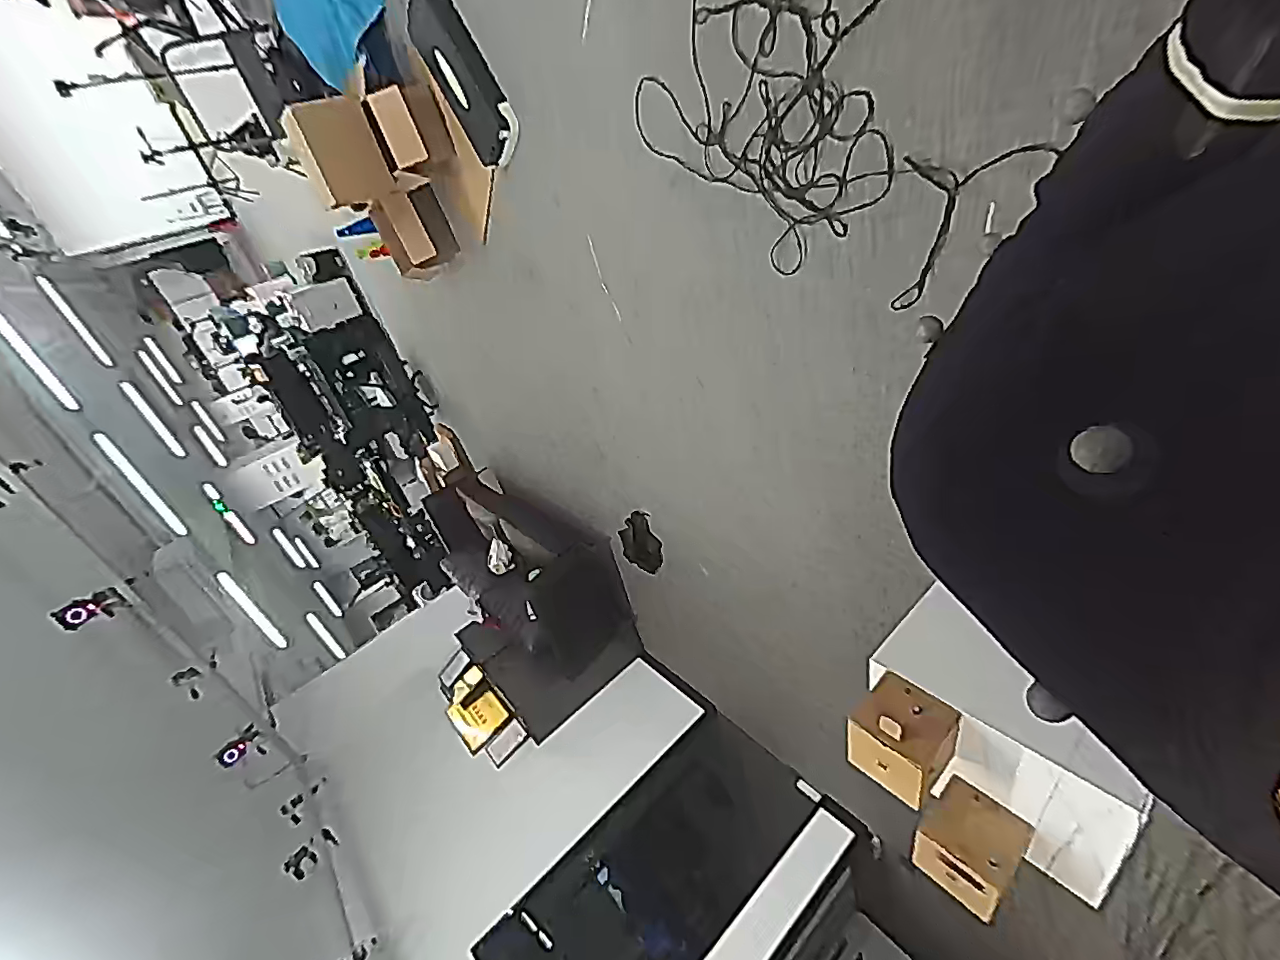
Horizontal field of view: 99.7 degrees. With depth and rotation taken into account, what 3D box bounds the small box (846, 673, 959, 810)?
[{"bbox_3d":[0.578,0.570,1.195,0.168,0.176,0.179,26,141,45],"label":"small box"}]
